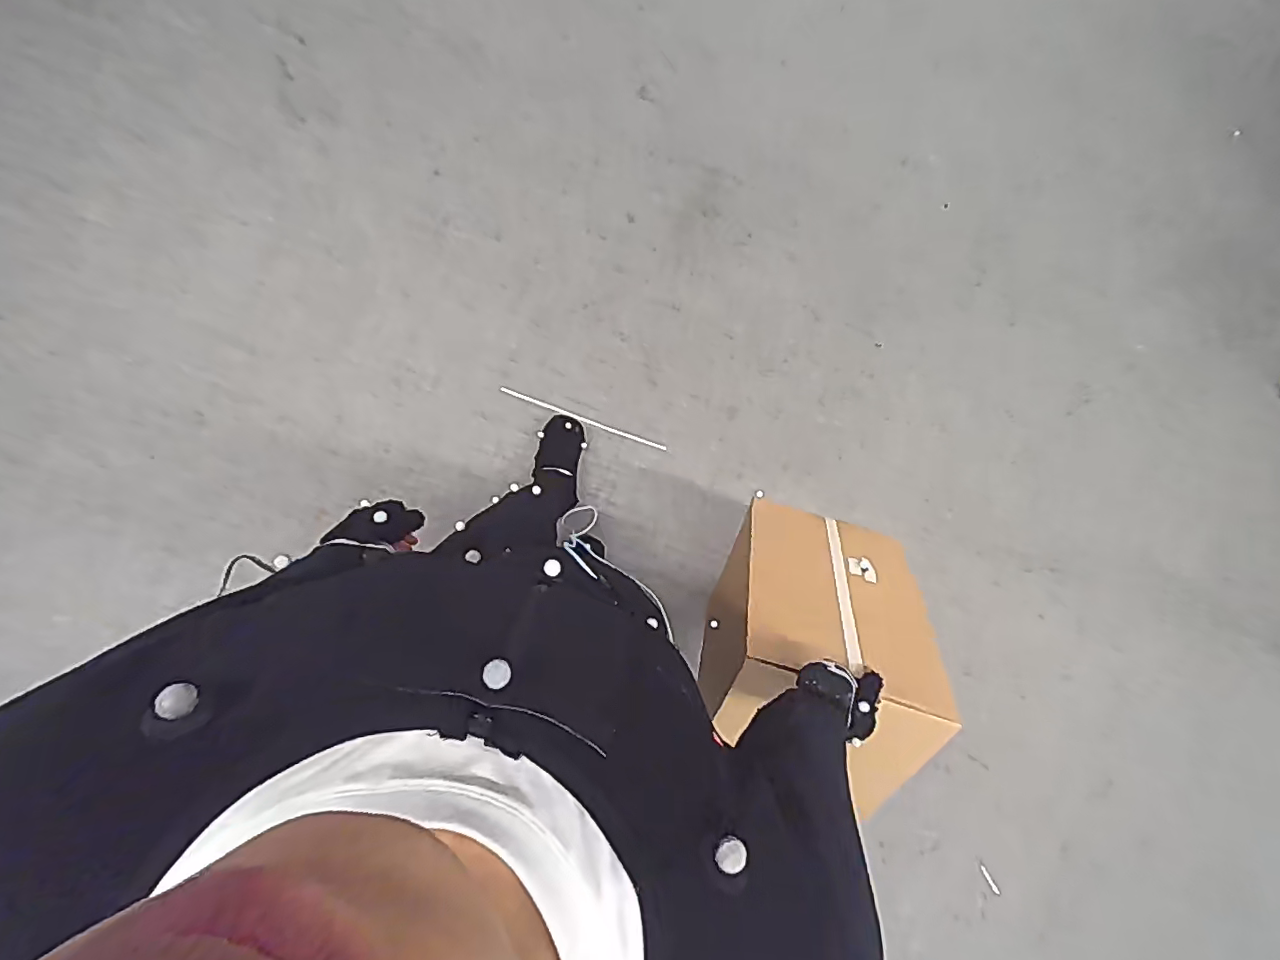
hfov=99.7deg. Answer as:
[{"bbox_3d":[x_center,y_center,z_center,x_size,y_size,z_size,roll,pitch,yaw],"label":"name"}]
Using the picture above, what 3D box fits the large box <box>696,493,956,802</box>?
[{"bbox_3d":[0.304,0.292,1.006,0.320,0.408,0.320,18,124,2],"label":"large box"}]
